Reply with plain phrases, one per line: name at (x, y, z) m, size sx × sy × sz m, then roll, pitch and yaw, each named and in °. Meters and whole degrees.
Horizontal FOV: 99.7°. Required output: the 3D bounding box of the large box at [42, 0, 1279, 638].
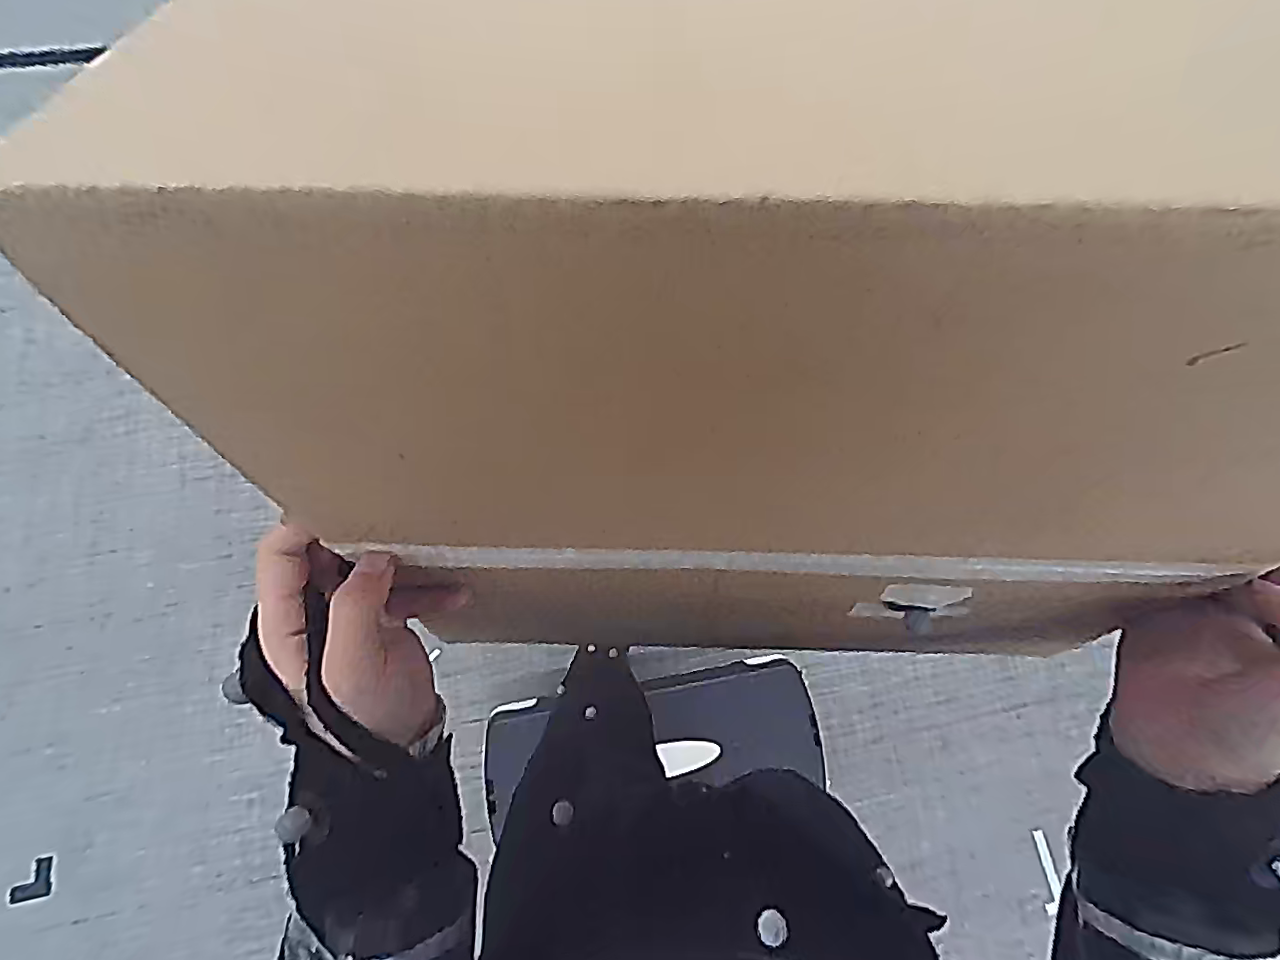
large box at (0.063, -0.101, 0.320) m, size 0.408 × 0.320 × 0.320 m, roll 0°, pitch 59°, yaw 0°
